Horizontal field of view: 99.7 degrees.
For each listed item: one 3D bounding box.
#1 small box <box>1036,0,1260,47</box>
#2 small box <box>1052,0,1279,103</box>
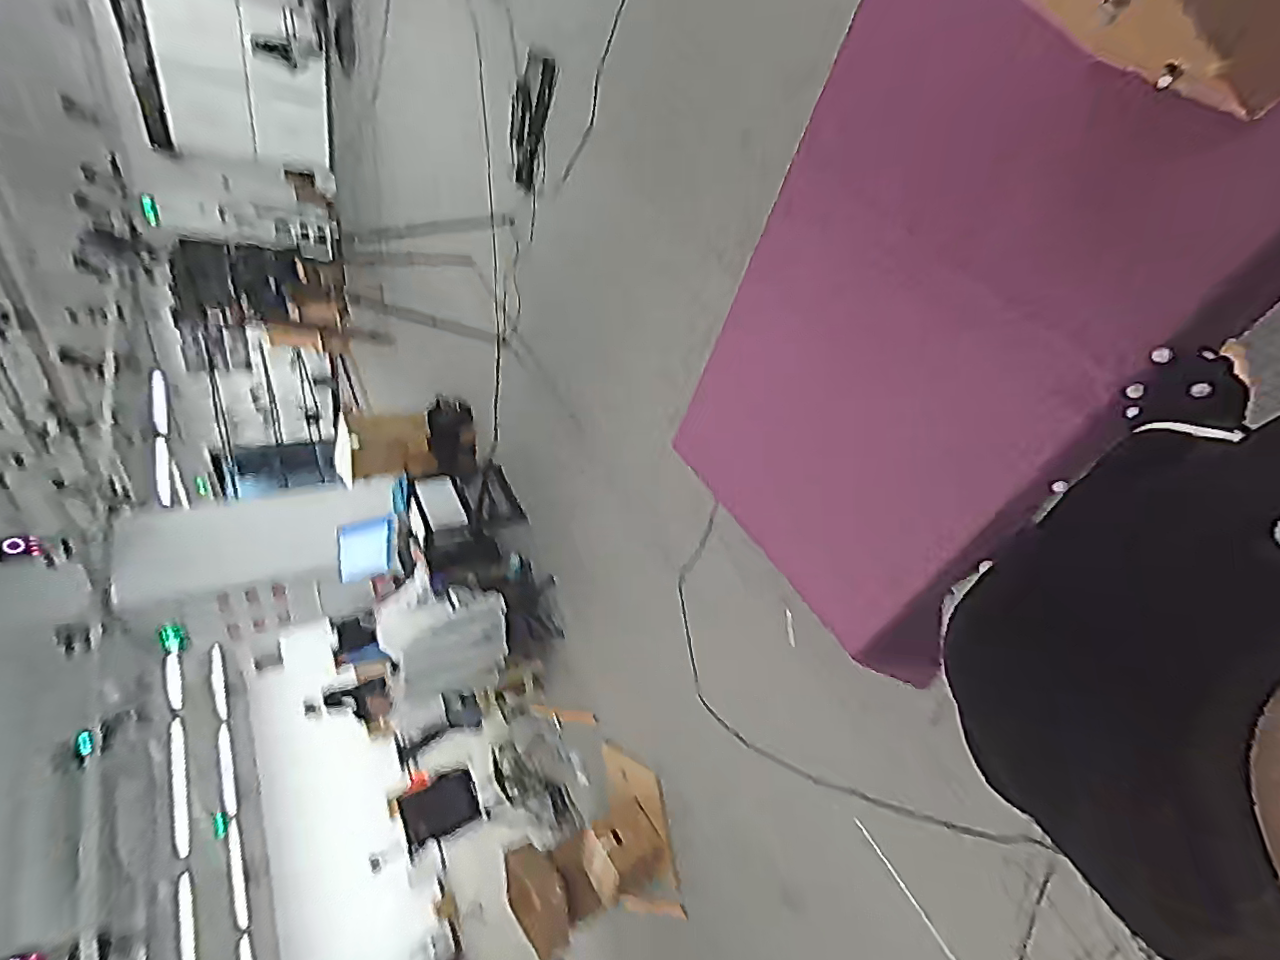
[{"bbox_3d":[0.368,-0.429,0.362,0.179,0.176,0.168,56,138,31],"label":"small box"},{"bbox_3d":[0.501,-0.454,0.457,0.179,0.176,0.168,56,139,29],"label":"small box"}]
